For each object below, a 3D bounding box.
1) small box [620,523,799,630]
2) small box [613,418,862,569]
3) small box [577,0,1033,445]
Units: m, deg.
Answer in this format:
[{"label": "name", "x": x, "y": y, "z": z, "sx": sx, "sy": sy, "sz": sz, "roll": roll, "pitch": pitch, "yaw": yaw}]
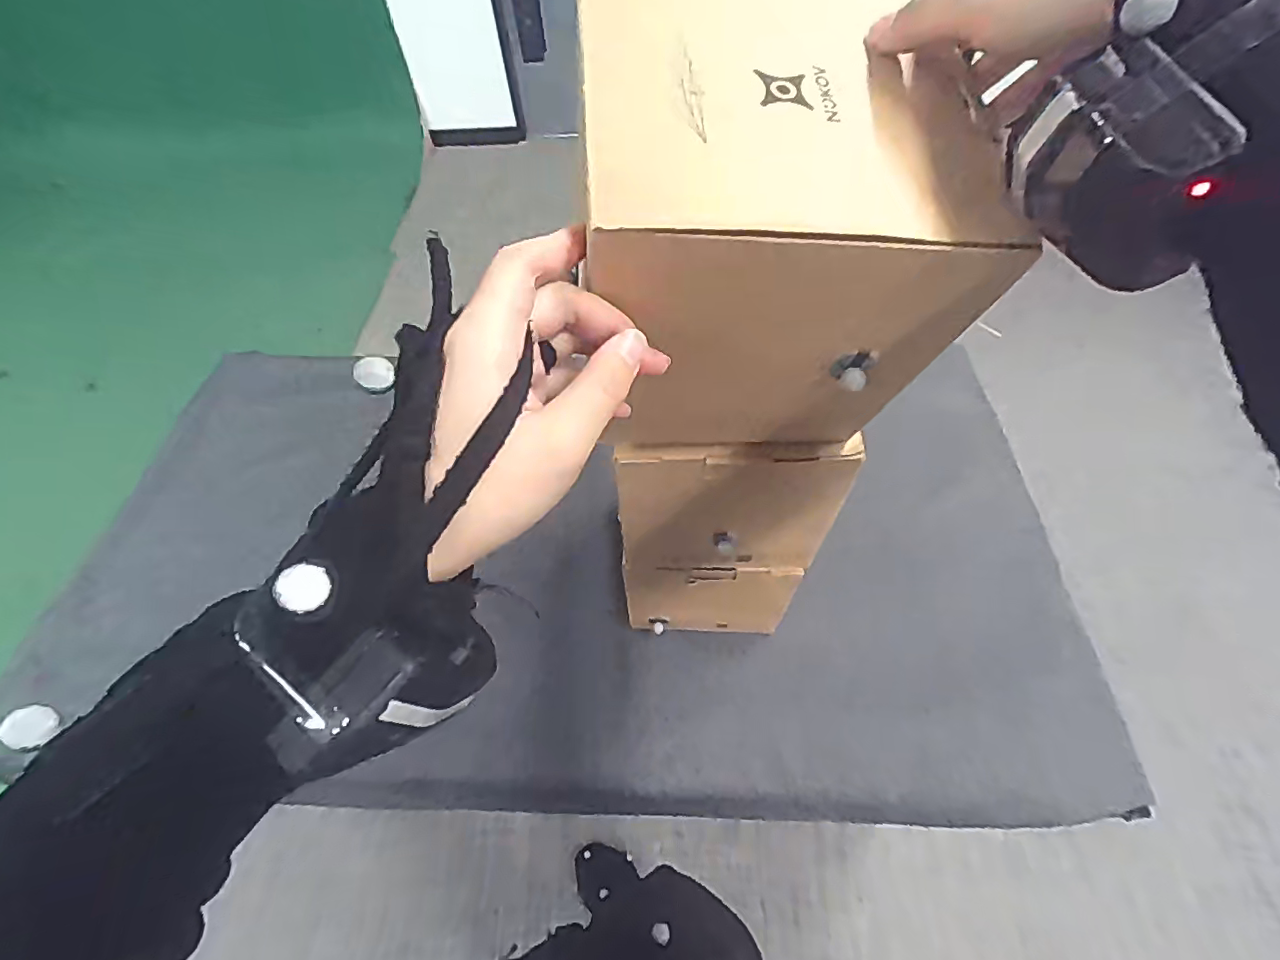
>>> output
[{"label": "small box", "x": 0.072, "y": 0.056, "z": 0.600, "sx": 0.168, "sy": 0.176, "sz": 0.179, "roll": 1, "pitch": 55, "yaw": 3}, {"label": "small box", "x": 0.067, "y": -0.039, "z": 0.466, "sx": 0.168, "sy": 0.176, "sz": 0.179, "roll": -1, "pitch": 56, "yaw": 2}, {"label": "small box", "x": 0.054, "y": -0.128, "z": 0.301, "sx": 0.179, "sy": 0.176, "sz": 0.168, "roll": -2, "pitch": 67, "yaw": -6}]
